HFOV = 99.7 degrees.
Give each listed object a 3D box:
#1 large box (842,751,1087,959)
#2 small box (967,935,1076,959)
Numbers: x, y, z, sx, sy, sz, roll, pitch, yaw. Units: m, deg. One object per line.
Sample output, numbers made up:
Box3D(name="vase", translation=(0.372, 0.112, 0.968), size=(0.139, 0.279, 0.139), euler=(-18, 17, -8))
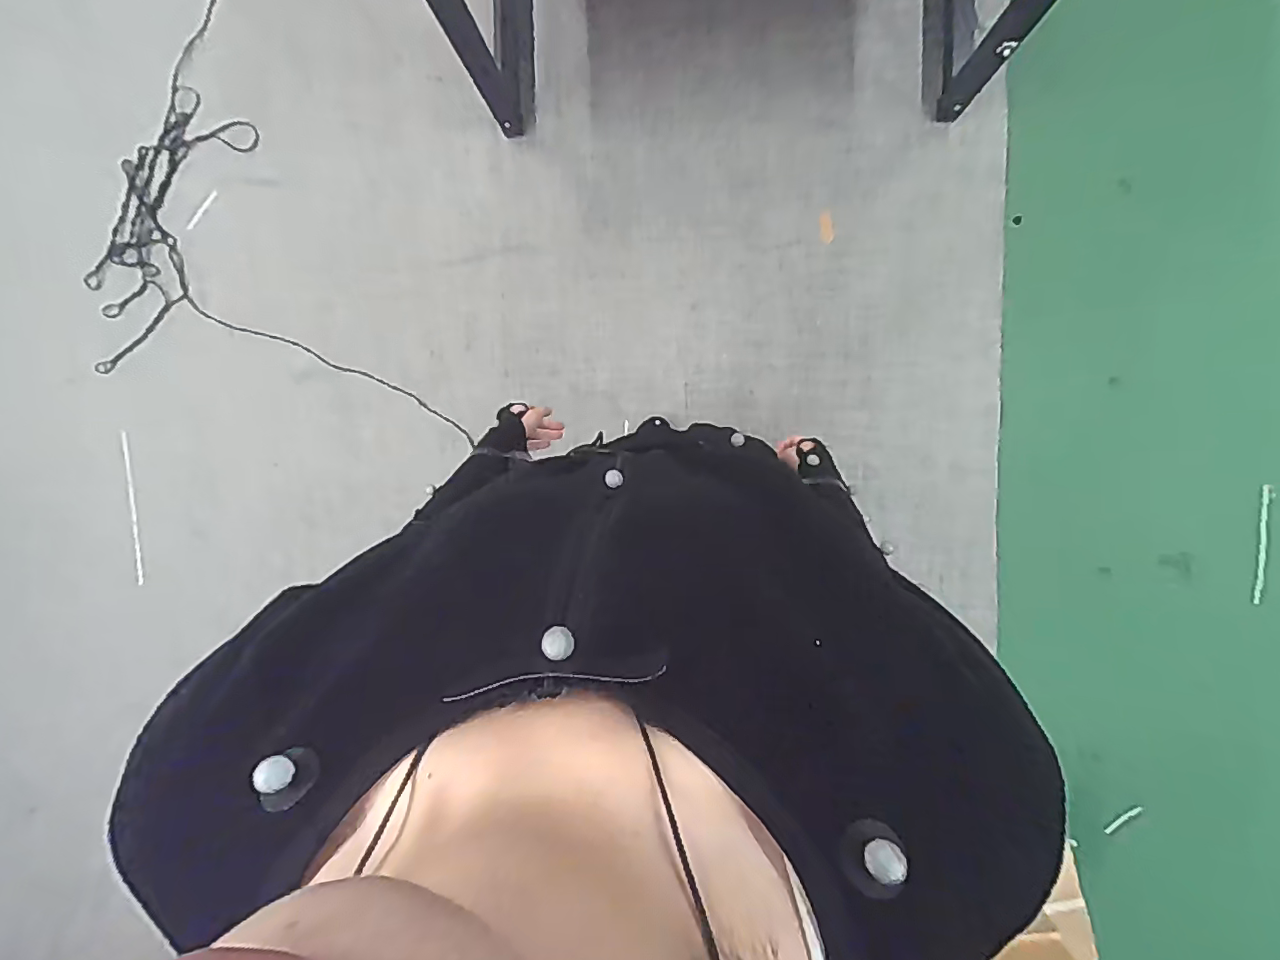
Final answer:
Box3D(name="large box", translation=(0.796, 0.960, 1.385), size=(0.408, 0.320, 0.320), euler=(-15, 94, 4))
Box3D(name="small box", translation=(0.733, 0.974, 0.980), size=(0.179, 0.176, 0.168), euler=(-8, 93, 5))
